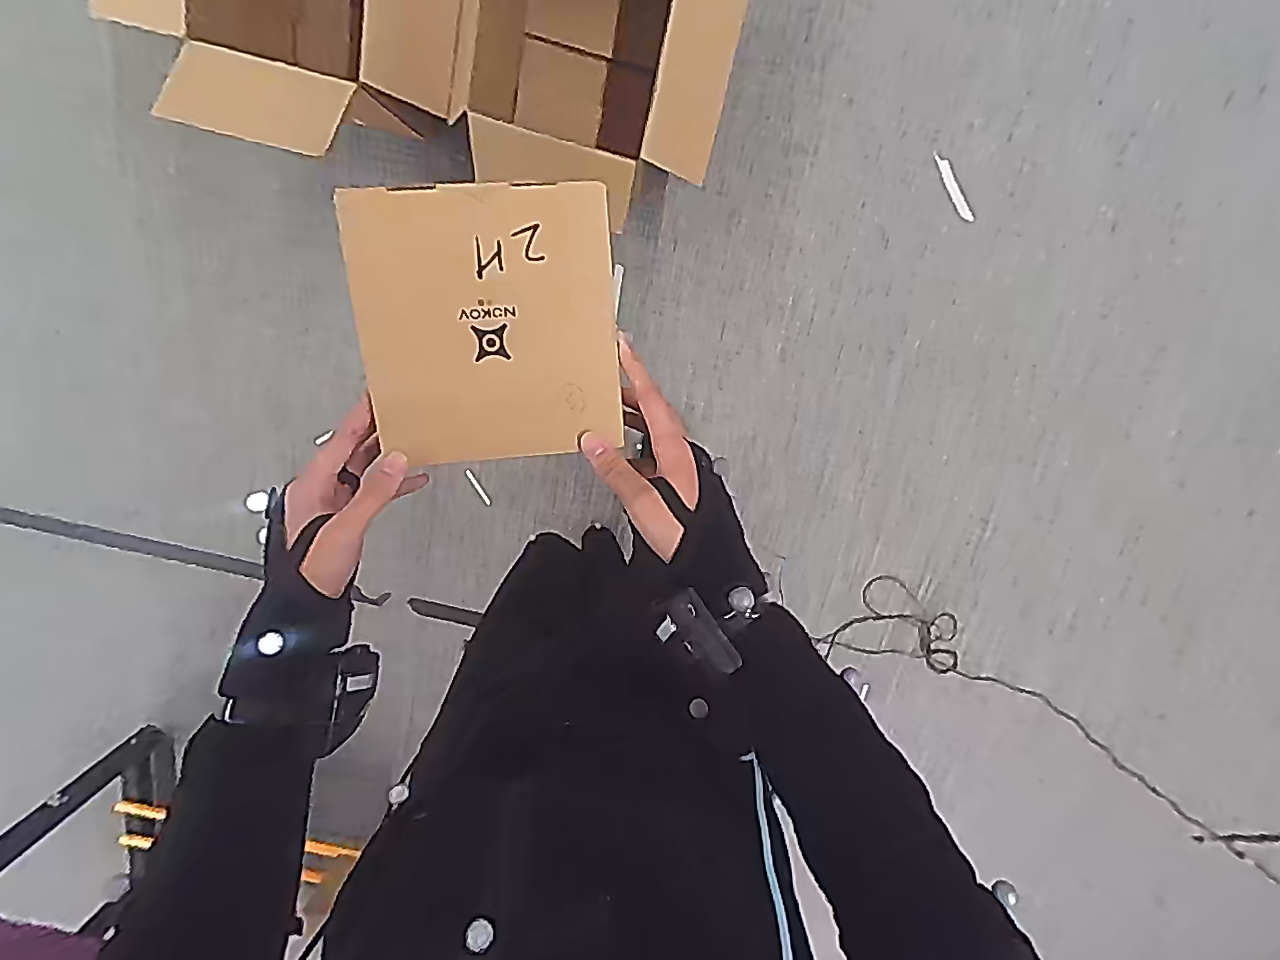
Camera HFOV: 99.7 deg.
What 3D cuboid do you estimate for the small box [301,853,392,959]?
[{"bbox_3d":[-0.841,1.223,1.562,0.179,0.176,0.168,11,106,3],"label":"small box"}]

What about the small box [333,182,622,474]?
[{"bbox_3d":[-0.105,-0.113,0.423,0.168,0.176,0.179,-5,104,-6],"label":"small box"}]
